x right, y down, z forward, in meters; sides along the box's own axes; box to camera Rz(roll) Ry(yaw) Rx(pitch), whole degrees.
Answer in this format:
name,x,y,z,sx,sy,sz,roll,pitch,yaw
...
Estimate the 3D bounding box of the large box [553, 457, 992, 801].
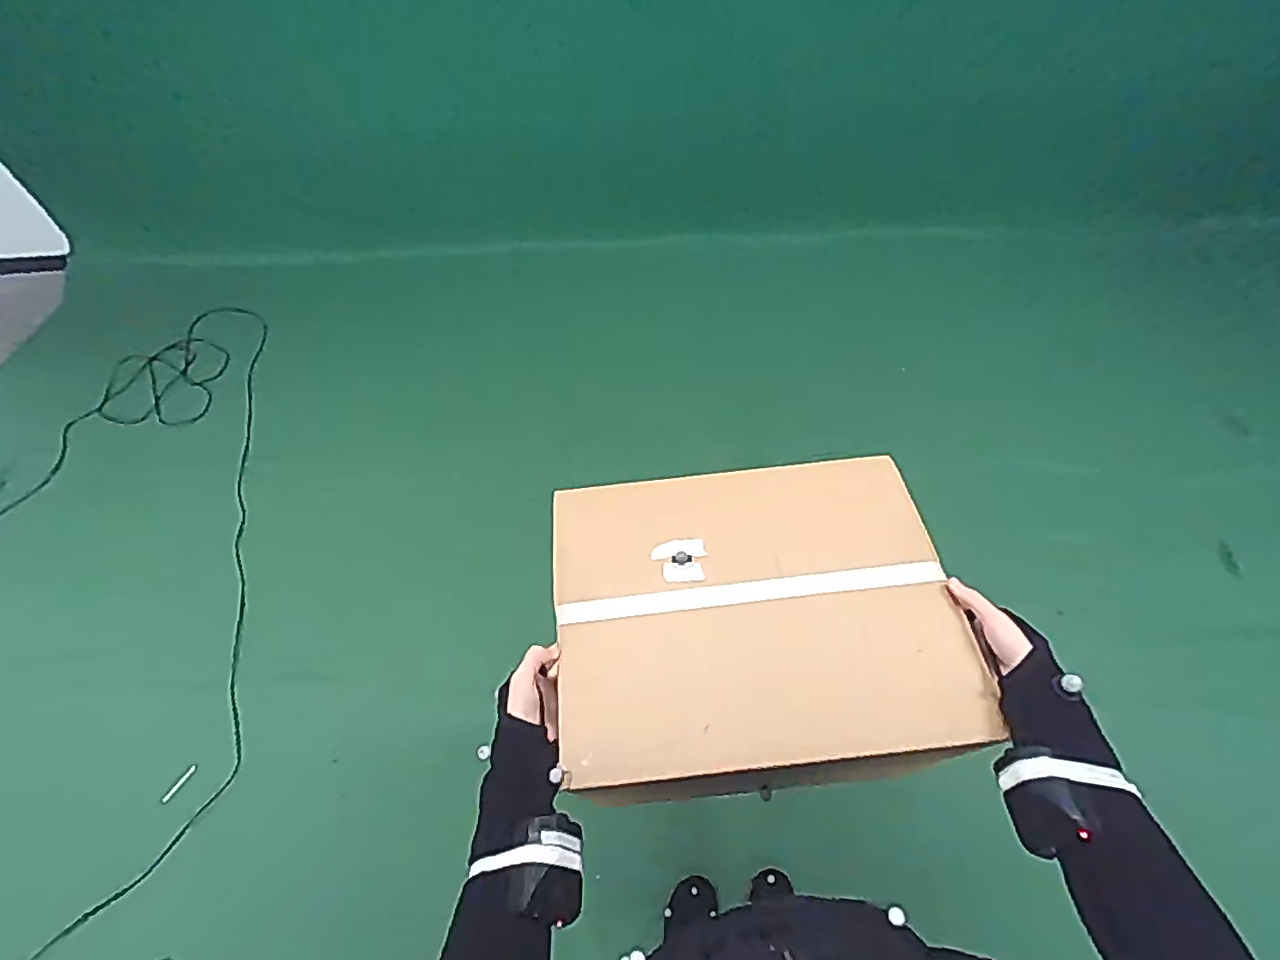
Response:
name,x,y,z,sx,sy,sz,roll,pitch,yaw
large box,0.121,0.205,0.693,0.408,0.320,0.320,-7,56,0
